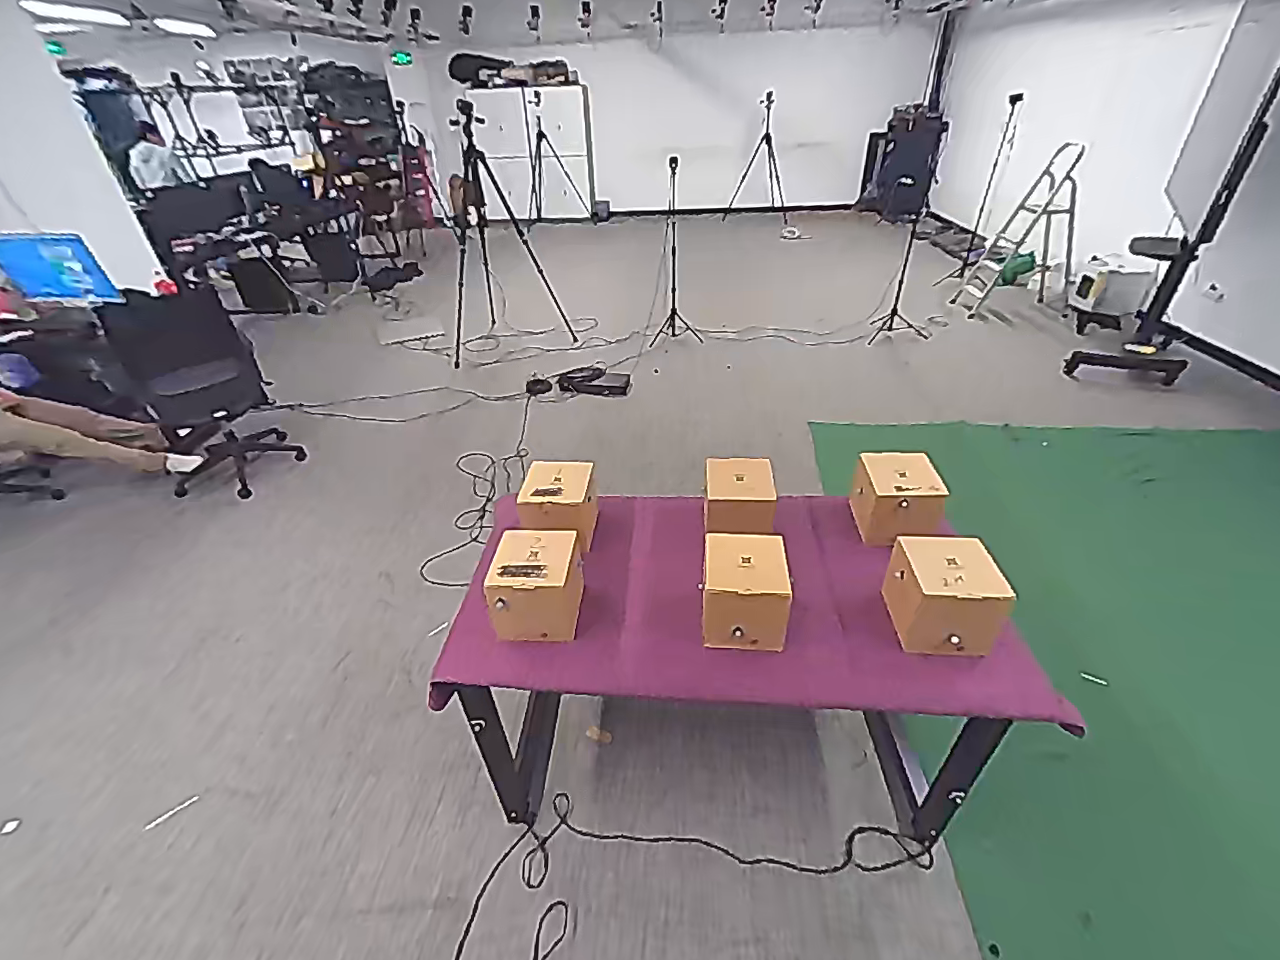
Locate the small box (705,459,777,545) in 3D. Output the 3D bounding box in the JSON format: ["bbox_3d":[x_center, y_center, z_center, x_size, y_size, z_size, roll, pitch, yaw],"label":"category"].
[{"bbox_3d":[0.255,0.065,1.396,0.168,0.176,0.179,1,37,6],"label":"small box"}]

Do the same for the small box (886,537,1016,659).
[{"bbox_3d":[0.626,0.240,1.118,0.168,0.176,0.179,1,34,7],"label":"small box"}]

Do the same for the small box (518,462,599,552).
[{"bbox_3d":[-0.203,0.072,1.407,0.168,0.176,0.179,2,36,5],"label":"small box"}]

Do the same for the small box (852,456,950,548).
[{"bbox_3d":[0.653,0.054,1.378,0.168,0.176,0.179,-1,37,6],"label":"small box"}]

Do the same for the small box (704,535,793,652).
[{"bbox_3d":[0.223,0.239,1.152,0.168,0.176,0.179,2,35,6],"label":"small box"}]
